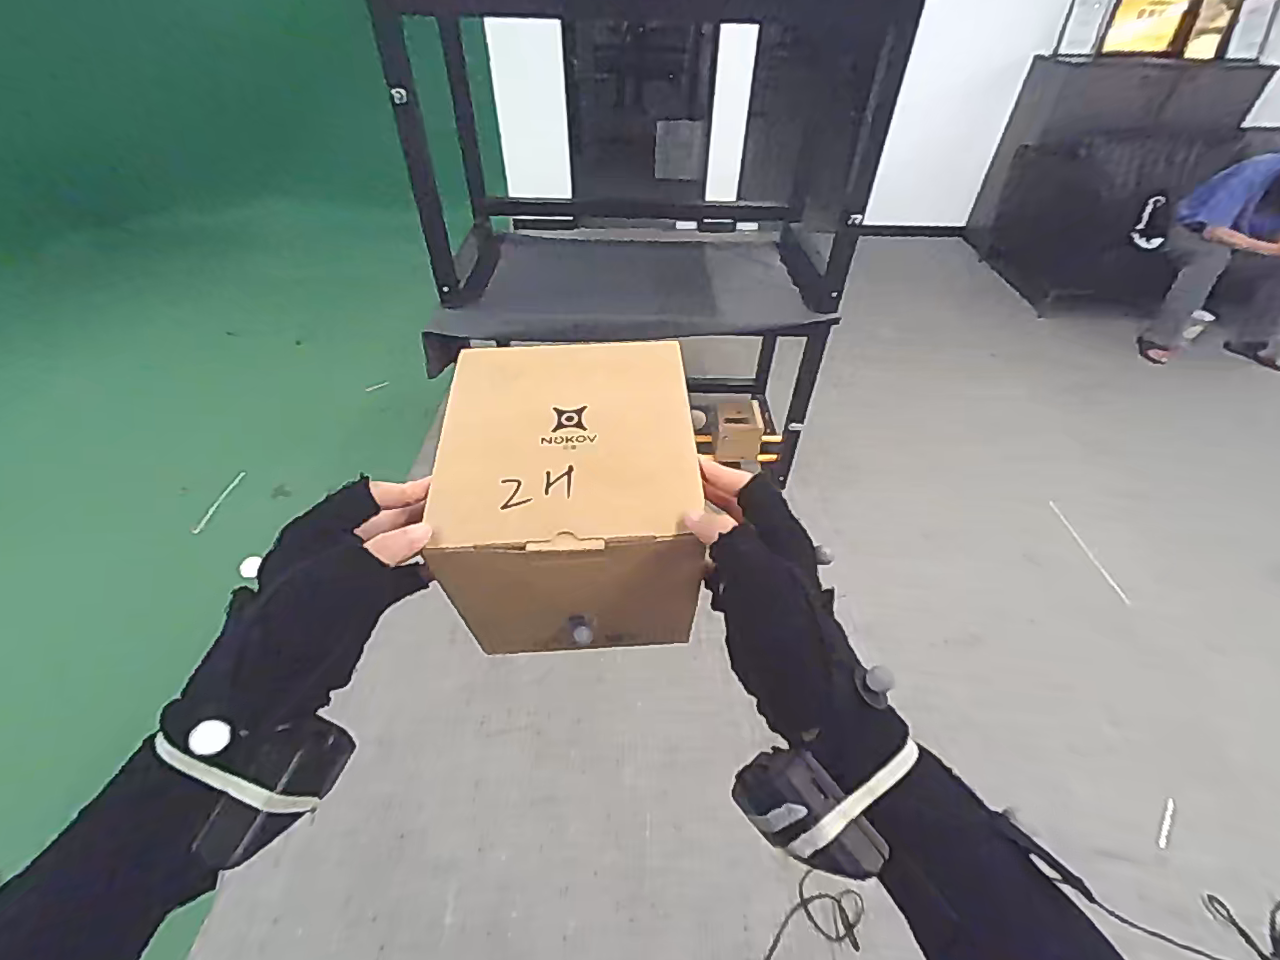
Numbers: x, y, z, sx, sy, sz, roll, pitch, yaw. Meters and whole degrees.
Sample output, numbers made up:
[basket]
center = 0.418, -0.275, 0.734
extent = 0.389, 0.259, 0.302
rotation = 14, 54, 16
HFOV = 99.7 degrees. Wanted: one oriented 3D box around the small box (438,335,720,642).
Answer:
[small box]
center = -0.038, 0.008, 0.424
extent = 0.168, 0.176, 0.179
rotation = -3, 51, -1
